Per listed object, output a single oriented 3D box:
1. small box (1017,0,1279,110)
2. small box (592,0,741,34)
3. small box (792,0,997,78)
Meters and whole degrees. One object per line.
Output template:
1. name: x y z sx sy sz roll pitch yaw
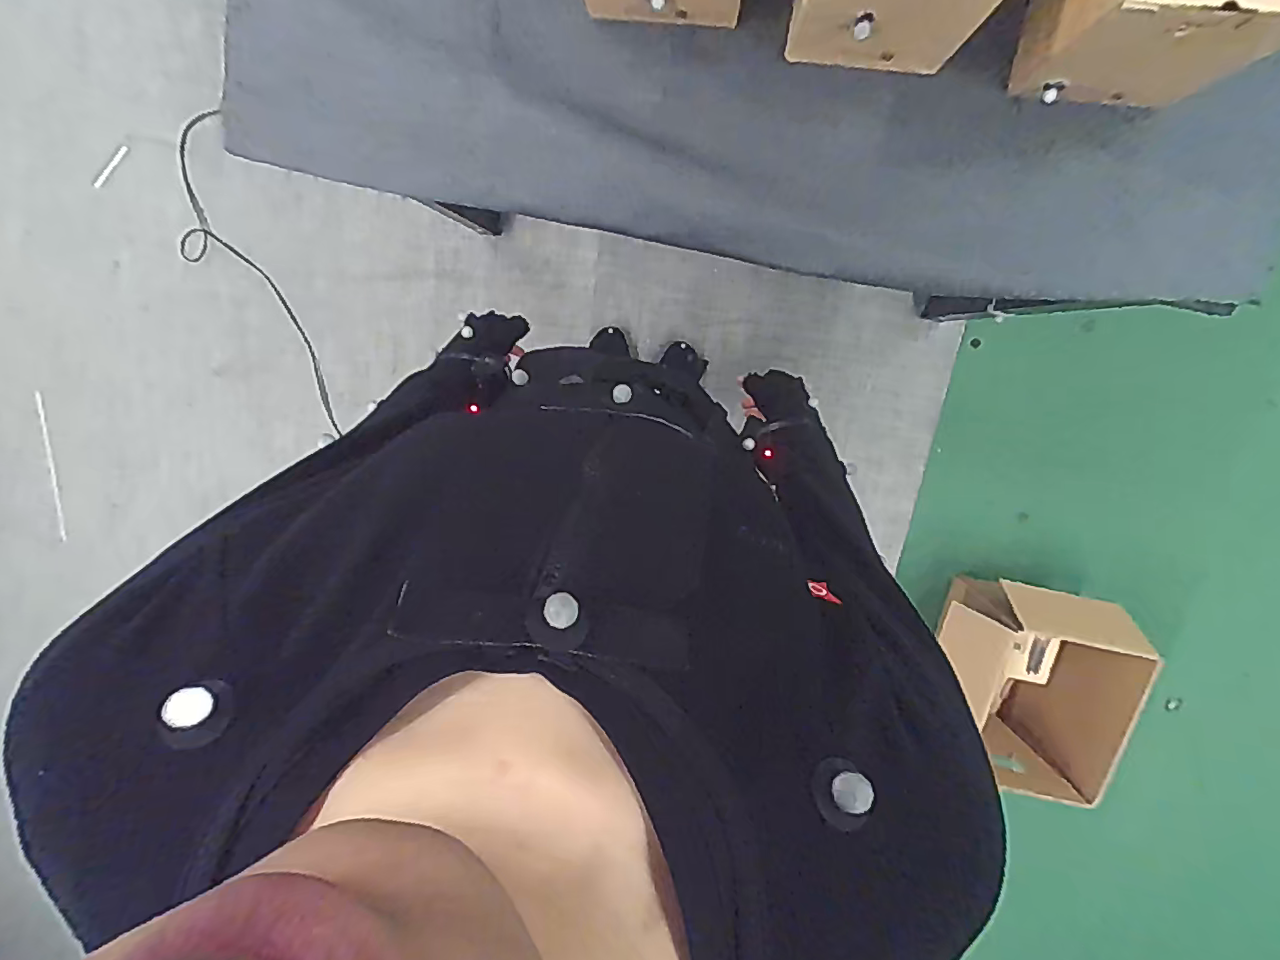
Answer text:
1. small box: 0.481 -0.464 0.482 0.168 0.176 0.179 8 104 3
2. small box: 0.028 -0.565 0.498 0.168 0.176 0.179 7 104 3
3. small box: 0.245 -0.507 0.495 0.168 0.176 0.179 8 104 3
